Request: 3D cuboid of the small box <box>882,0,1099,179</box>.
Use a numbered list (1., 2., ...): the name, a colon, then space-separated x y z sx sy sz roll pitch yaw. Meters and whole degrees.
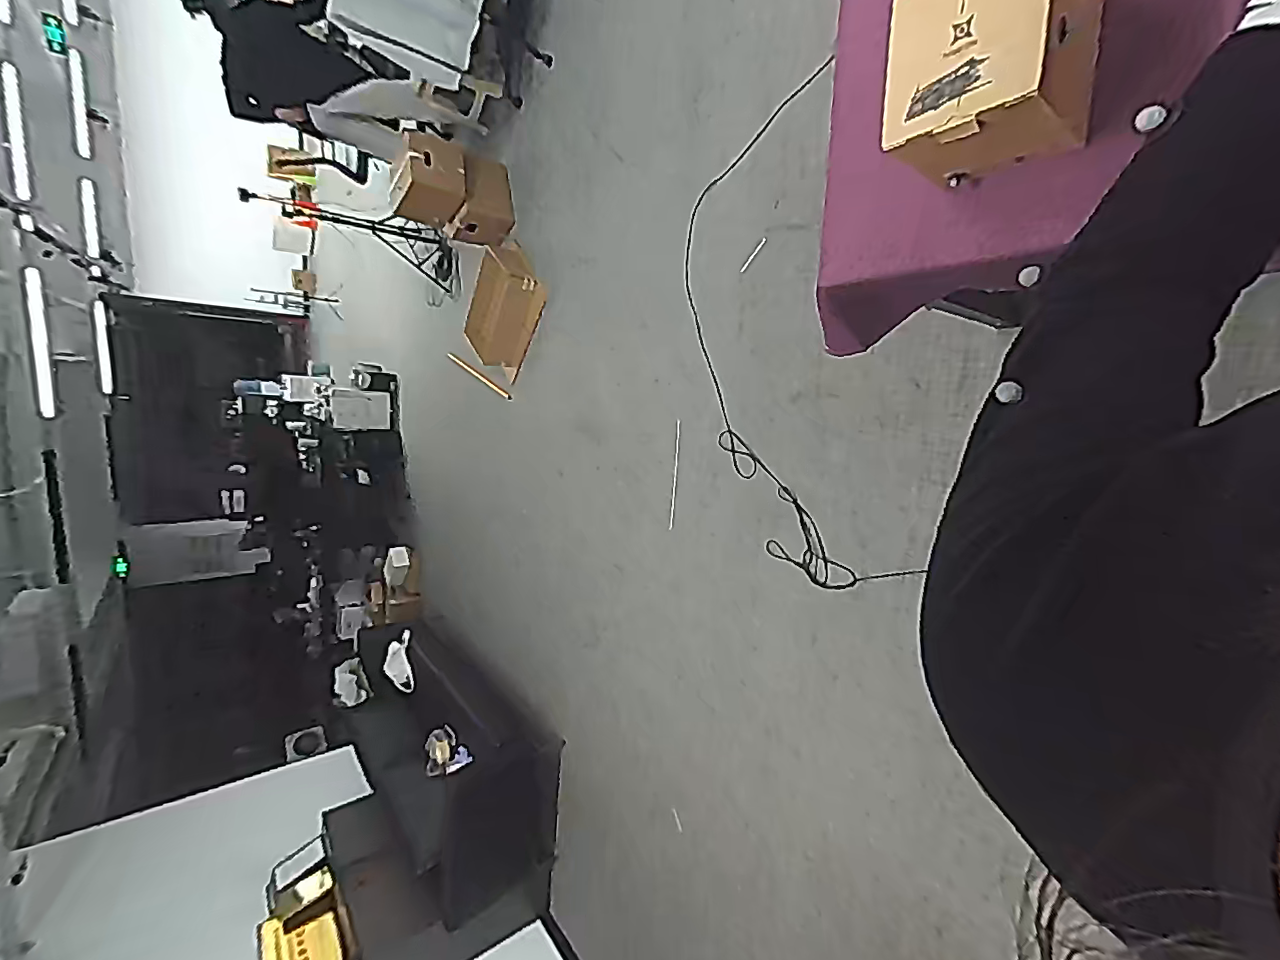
1. small box: 0.415 -0.485 0.645 0.168 0.176 0.179 11 100 51
